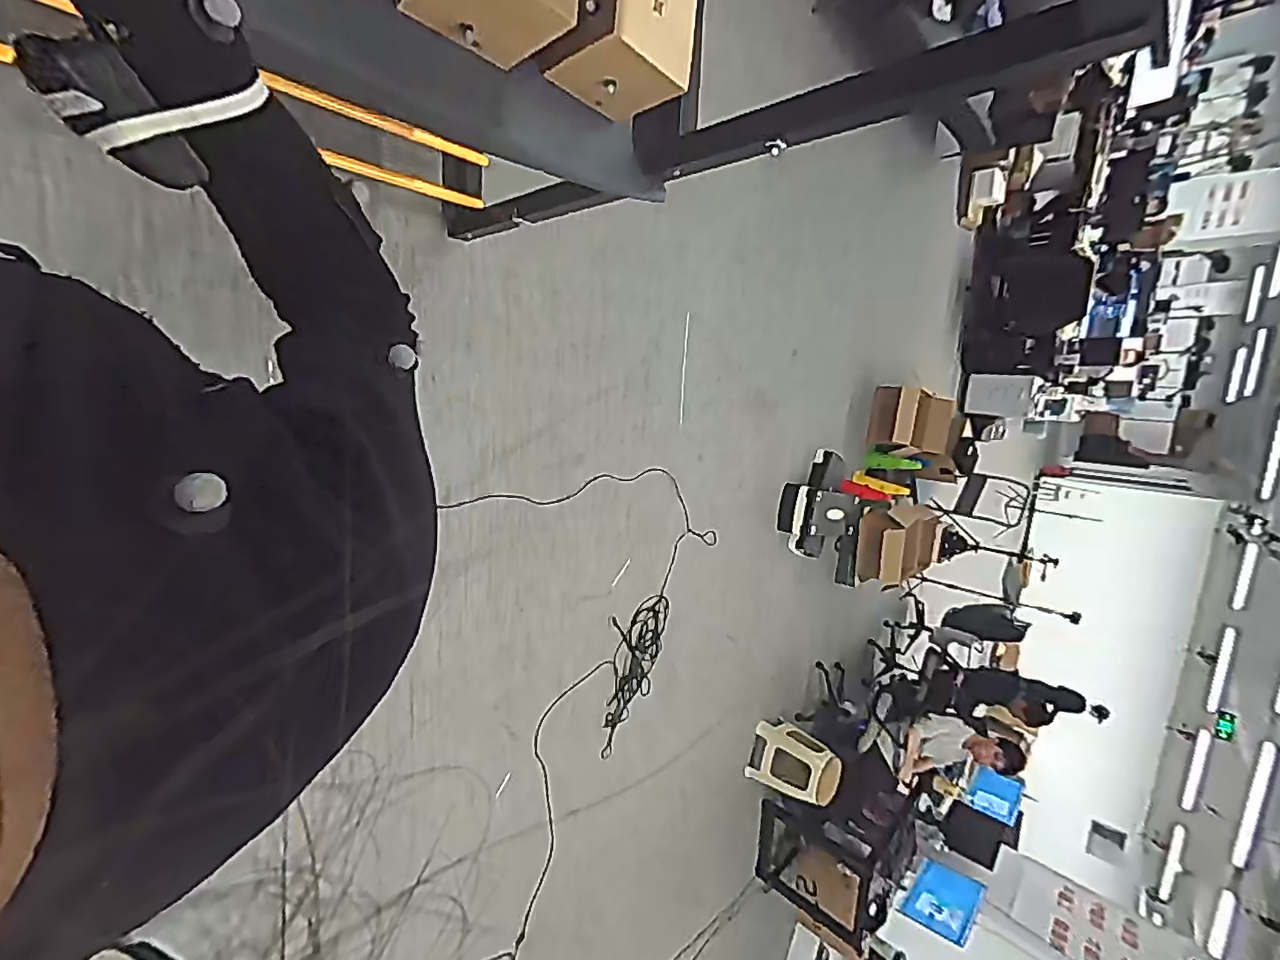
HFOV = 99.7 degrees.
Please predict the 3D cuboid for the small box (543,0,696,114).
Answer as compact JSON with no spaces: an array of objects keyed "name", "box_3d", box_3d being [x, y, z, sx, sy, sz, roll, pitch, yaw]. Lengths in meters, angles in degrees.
[{"name":"small box","box_3d":[-0.033,-0.712,0.838,0.168,0.176,0.179,-1,100,-47]}]
